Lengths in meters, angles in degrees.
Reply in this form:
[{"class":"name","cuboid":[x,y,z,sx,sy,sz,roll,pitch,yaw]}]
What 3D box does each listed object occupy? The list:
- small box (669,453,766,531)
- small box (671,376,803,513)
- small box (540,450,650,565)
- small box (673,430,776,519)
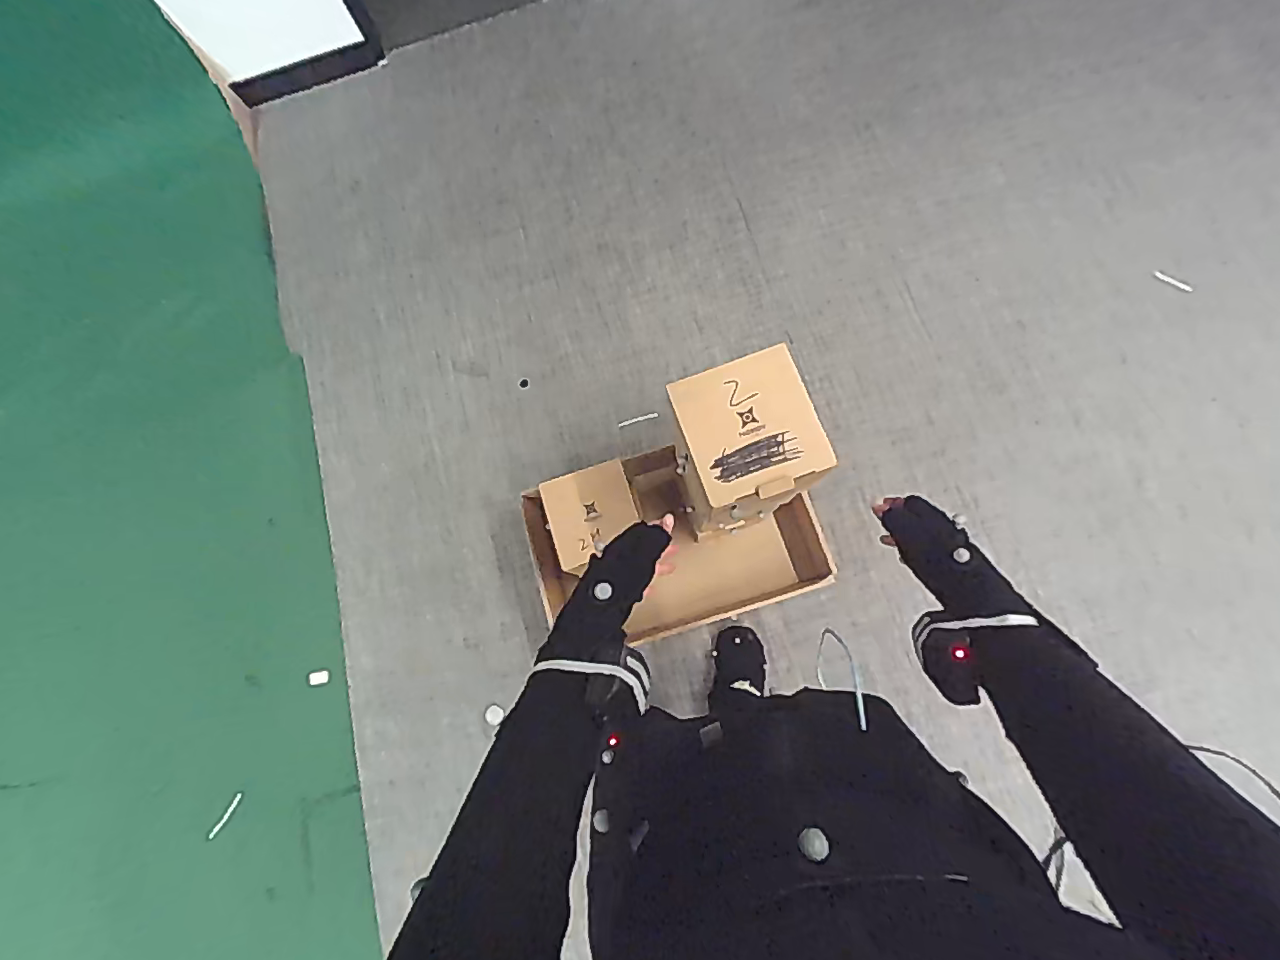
[{"class":"small box","cuboid":[0.177,0.011,1.240,0.168,0.176,0.179,-22,78,2]},{"class":"small box","cuboid":[0.158,-0.048,0.917,0.168,0.176,0.179,-17,78,2]},{"class":"small box","cuboid":[-0.084,0.063,1.083,0.168,0.176,0.179,-18,78,1]},{"class":"small box","cuboid":[0.172,-0.028,1.062,0.168,0.176,0.179,-18,78,2]}]
